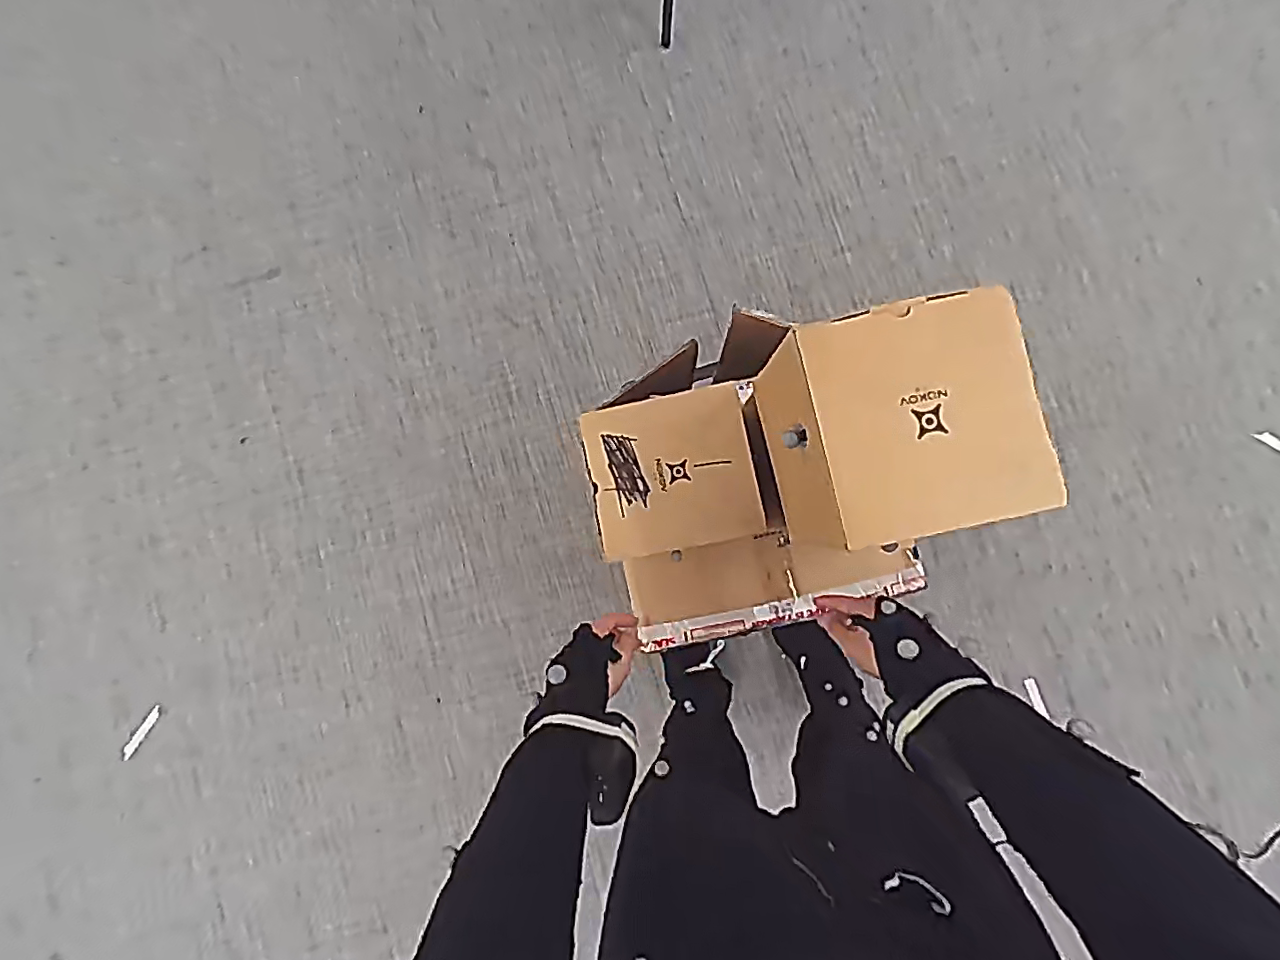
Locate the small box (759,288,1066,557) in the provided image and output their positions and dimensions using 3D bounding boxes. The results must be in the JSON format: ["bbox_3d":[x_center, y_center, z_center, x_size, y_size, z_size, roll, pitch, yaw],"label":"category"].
[{"bbox_3d":[0.216,-0.038,0.481,0.168,0.176,0.179,-13,84,1],"label":"small box"}]
